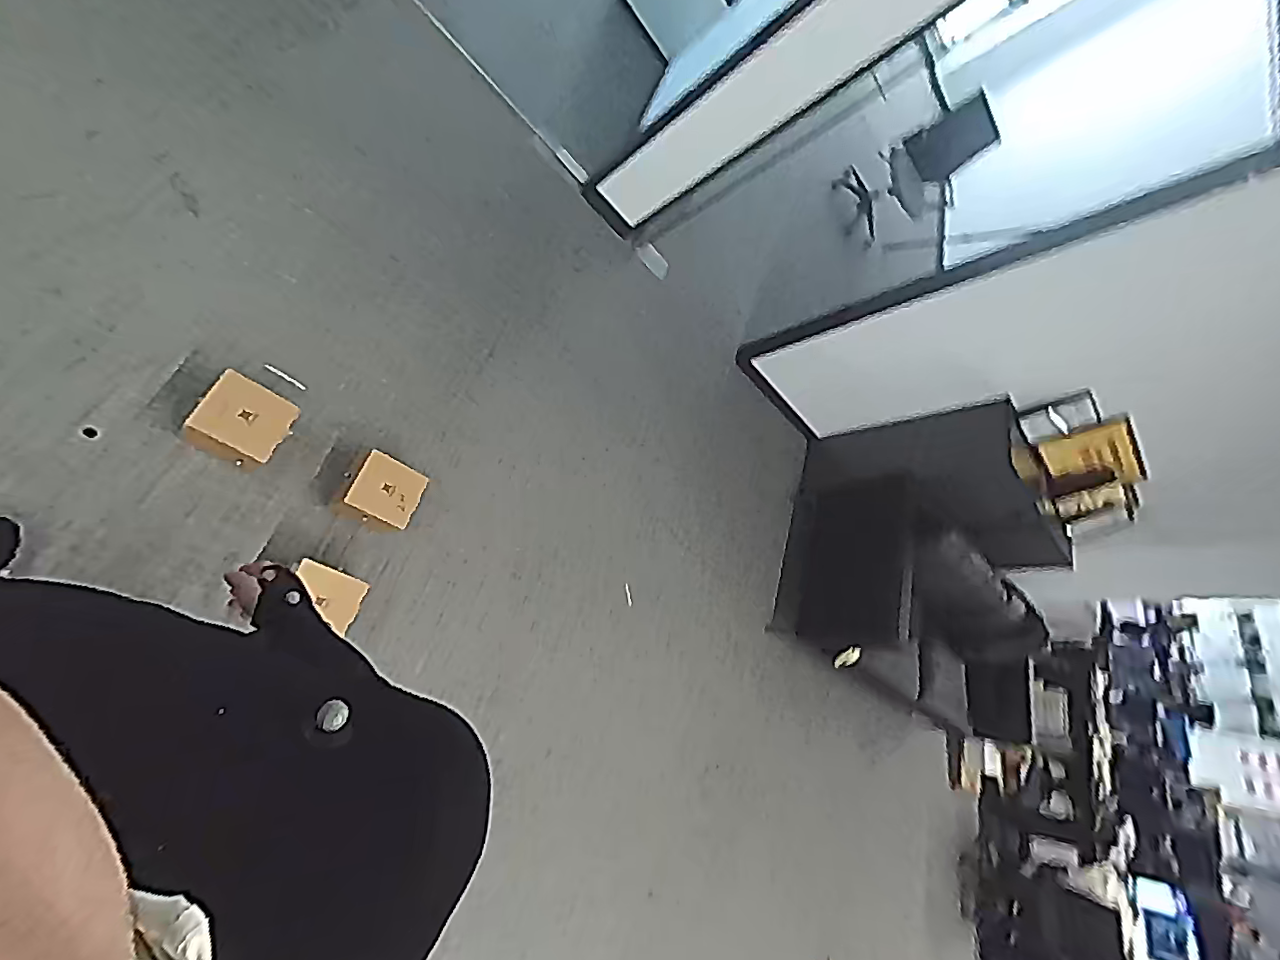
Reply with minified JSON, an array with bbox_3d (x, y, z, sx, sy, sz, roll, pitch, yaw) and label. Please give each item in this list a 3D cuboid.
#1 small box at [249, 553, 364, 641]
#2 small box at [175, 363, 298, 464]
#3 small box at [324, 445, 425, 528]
[{"bbox_3d":[-0.851,0.300,1.376,0.179,0.176,0.168,38,57,-35],"label":"small box"},{"bbox_3d":[-0.988,-0.152,1.323,0.179,0.176,0.168,38,57,-33],"label":"small box"},{"bbox_3d":[-0.751,0.028,1.522,0.179,0.176,0.168,38,58,-34],"label":"small box"}]
